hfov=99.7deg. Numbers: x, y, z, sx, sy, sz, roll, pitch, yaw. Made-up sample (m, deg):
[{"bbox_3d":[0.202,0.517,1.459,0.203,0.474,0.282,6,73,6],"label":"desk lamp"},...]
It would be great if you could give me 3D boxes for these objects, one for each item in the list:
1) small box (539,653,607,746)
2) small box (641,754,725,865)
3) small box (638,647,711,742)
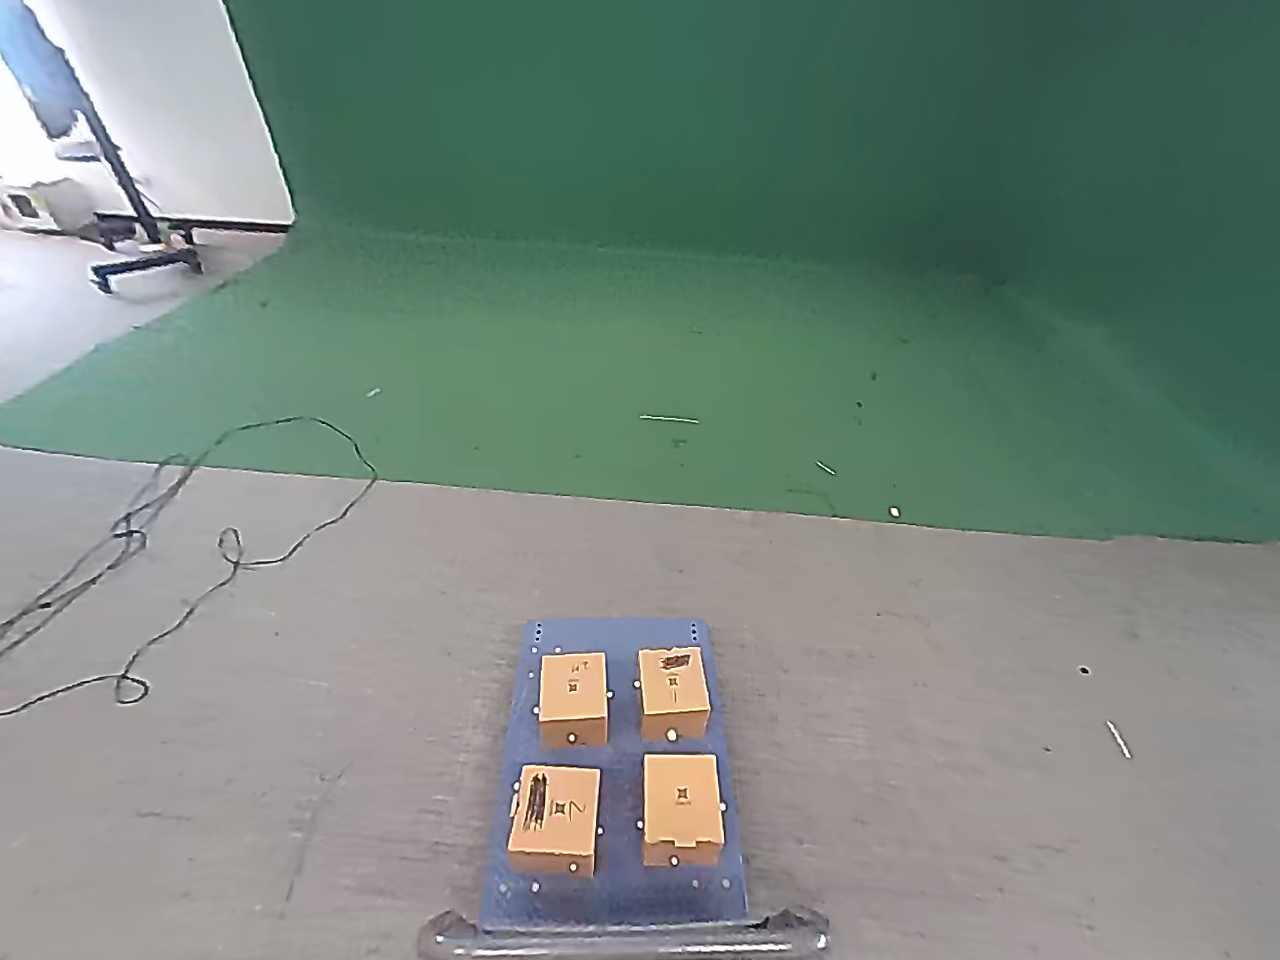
[{"bbox_3d":[-0.169,0.573,1.404,0.168,0.176,0.179,-1,42,-5],"label":"small box"},{"bbox_3d":[0.090,0.747,1.227,0.168,0.176,0.179,2,42,-2],"label":"small box"},{"bbox_3d":[0.083,0.565,1.428,0.168,0.176,0.179,-2,43,-5],"label":"small box"}]
